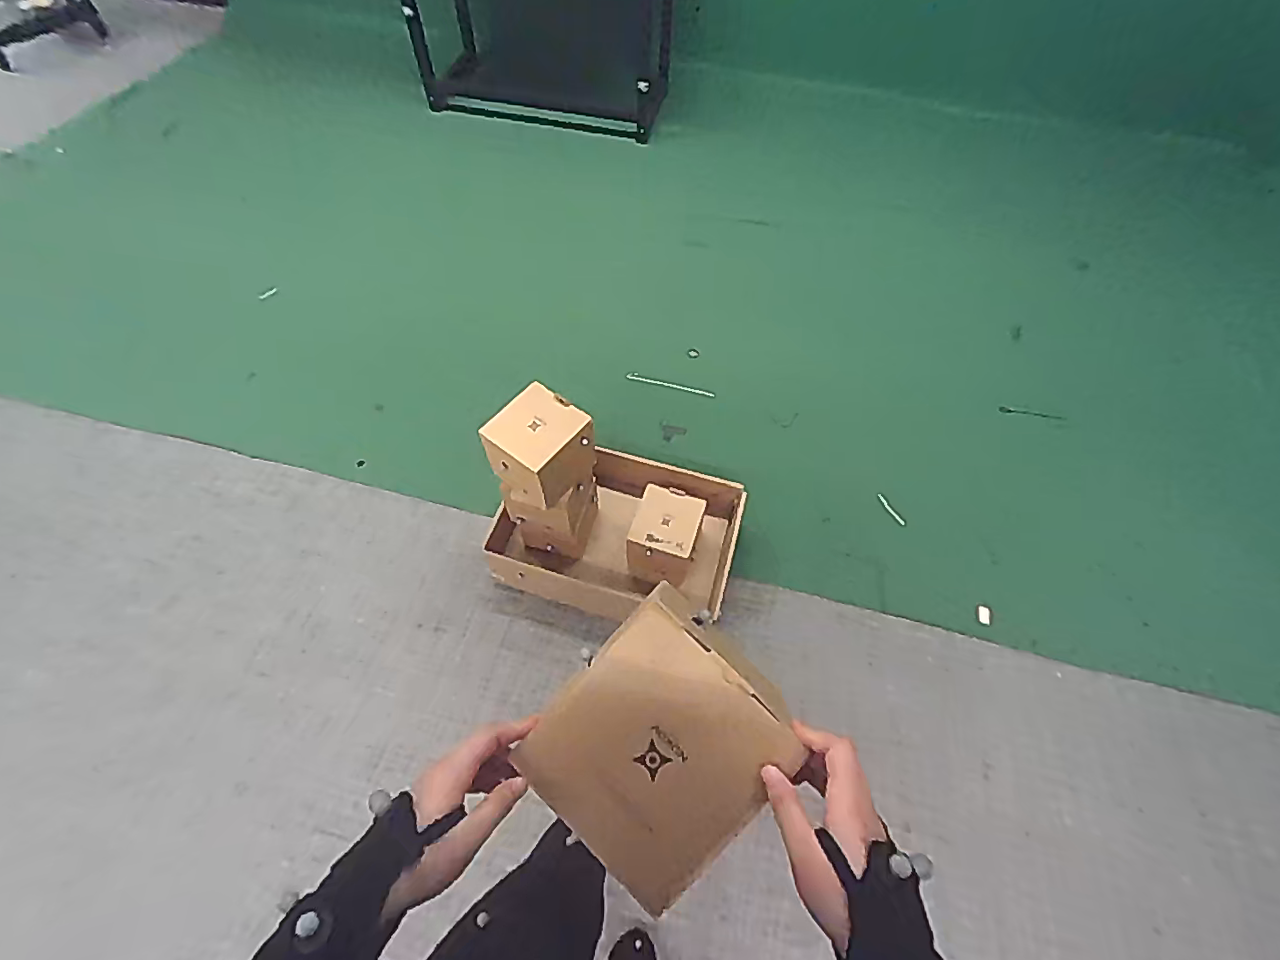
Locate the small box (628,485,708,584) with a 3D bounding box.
[{"bbox_3d":[0.070,0.148,1.442,0.168,0.176,0.179,18,60,10],"label":"small box"}]

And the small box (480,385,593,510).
[{"bbox_3d":[-0.214,-0.066,1.179,0.168,0.176,0.179,34,62,17],"label":"small box"}]

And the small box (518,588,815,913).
[{"bbox_3d":[0.024,0.218,0.497,0.168,0.176,0.179,43,90,8],"label":"small box"}]

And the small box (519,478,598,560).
[{"bbox_3d":[-0.216,0.091,1.466,0.168,0.176,0.179,13,59,6],"label":"small box"}]

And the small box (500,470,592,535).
[{"bbox_3d":[-0.219,0.012,1.322,0.168,0.176,0.179,15,58,6],"label":"small box"}]
